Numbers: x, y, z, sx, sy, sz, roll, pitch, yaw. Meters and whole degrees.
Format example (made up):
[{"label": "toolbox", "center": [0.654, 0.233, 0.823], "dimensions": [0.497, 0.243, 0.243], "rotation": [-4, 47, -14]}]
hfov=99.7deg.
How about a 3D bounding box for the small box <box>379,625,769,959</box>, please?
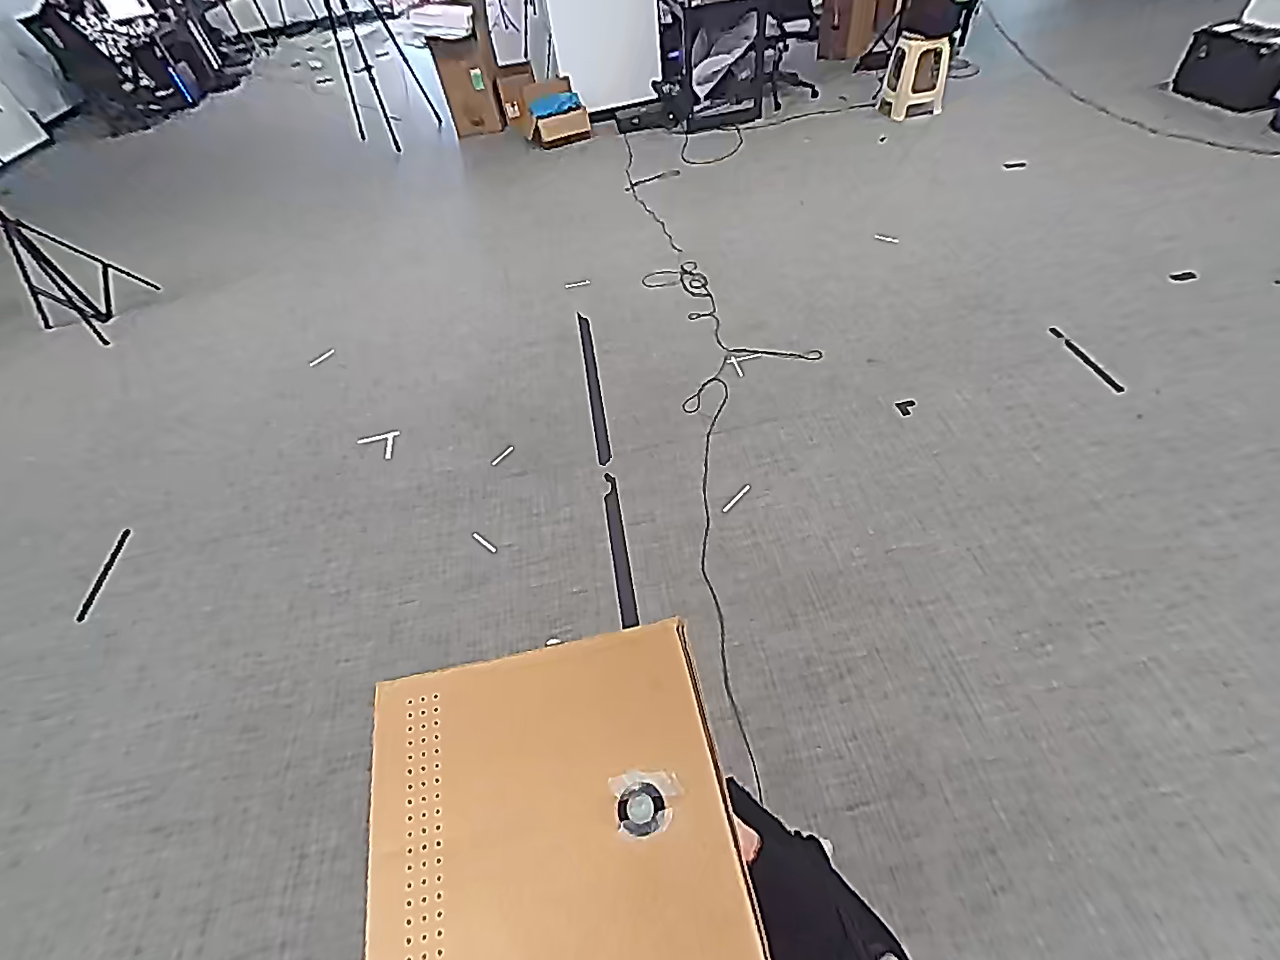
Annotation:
[{"label": "small box", "center": [-0.038, 0.210, 0.323], "dimensions": [0.176, 0.168, 0.179], "rotation": [-12, 59, -3]}]
